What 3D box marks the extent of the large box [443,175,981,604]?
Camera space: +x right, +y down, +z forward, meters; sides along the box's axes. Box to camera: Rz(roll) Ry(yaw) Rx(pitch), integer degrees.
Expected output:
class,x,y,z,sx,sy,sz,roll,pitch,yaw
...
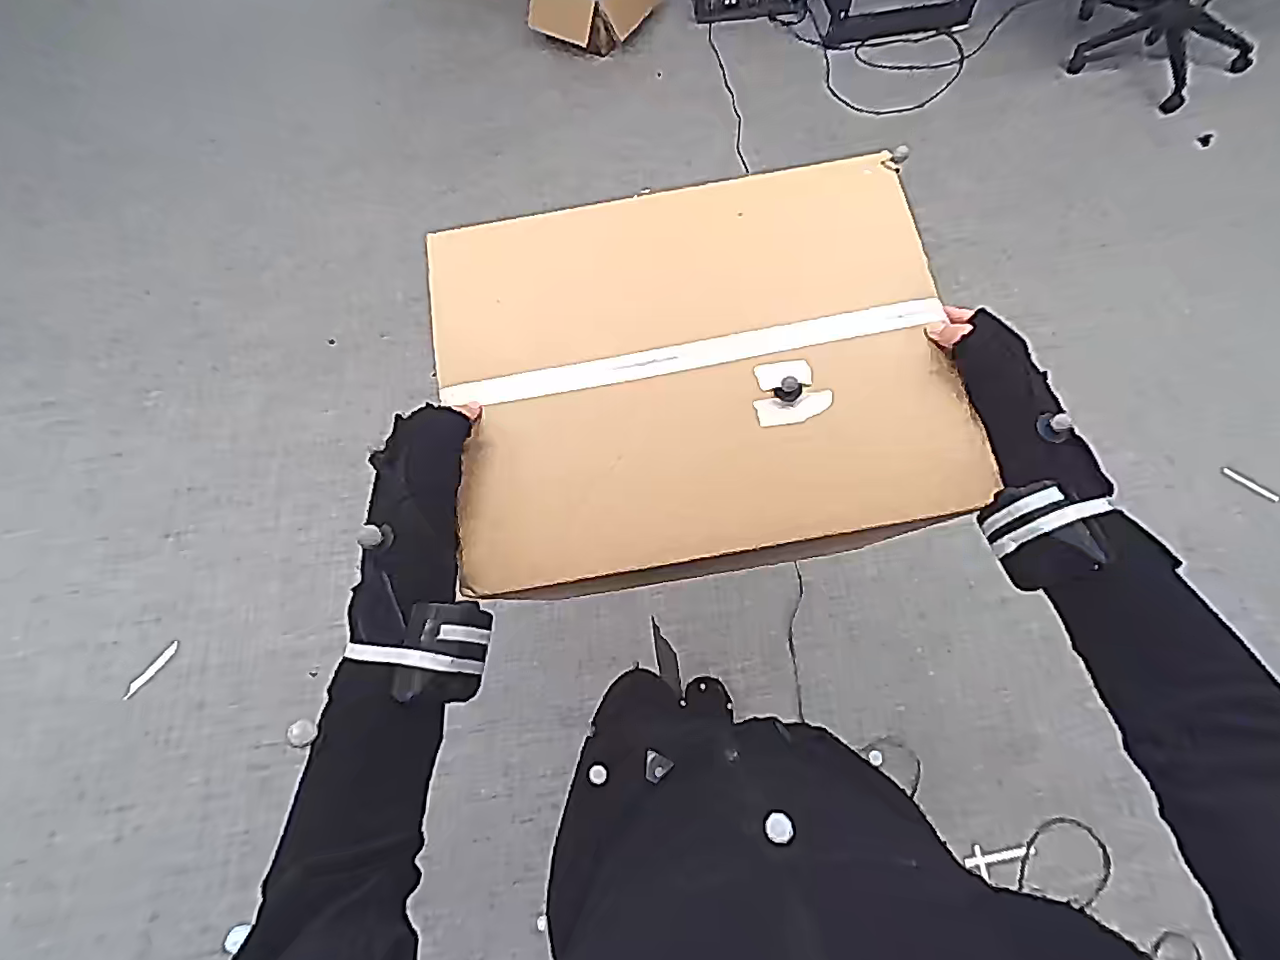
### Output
class,x,y,z,sx,sy,sz,roll,pitch,yaw
large box,0.048,-0.057,0.594,0.408,0.320,0.320,-11,76,0
